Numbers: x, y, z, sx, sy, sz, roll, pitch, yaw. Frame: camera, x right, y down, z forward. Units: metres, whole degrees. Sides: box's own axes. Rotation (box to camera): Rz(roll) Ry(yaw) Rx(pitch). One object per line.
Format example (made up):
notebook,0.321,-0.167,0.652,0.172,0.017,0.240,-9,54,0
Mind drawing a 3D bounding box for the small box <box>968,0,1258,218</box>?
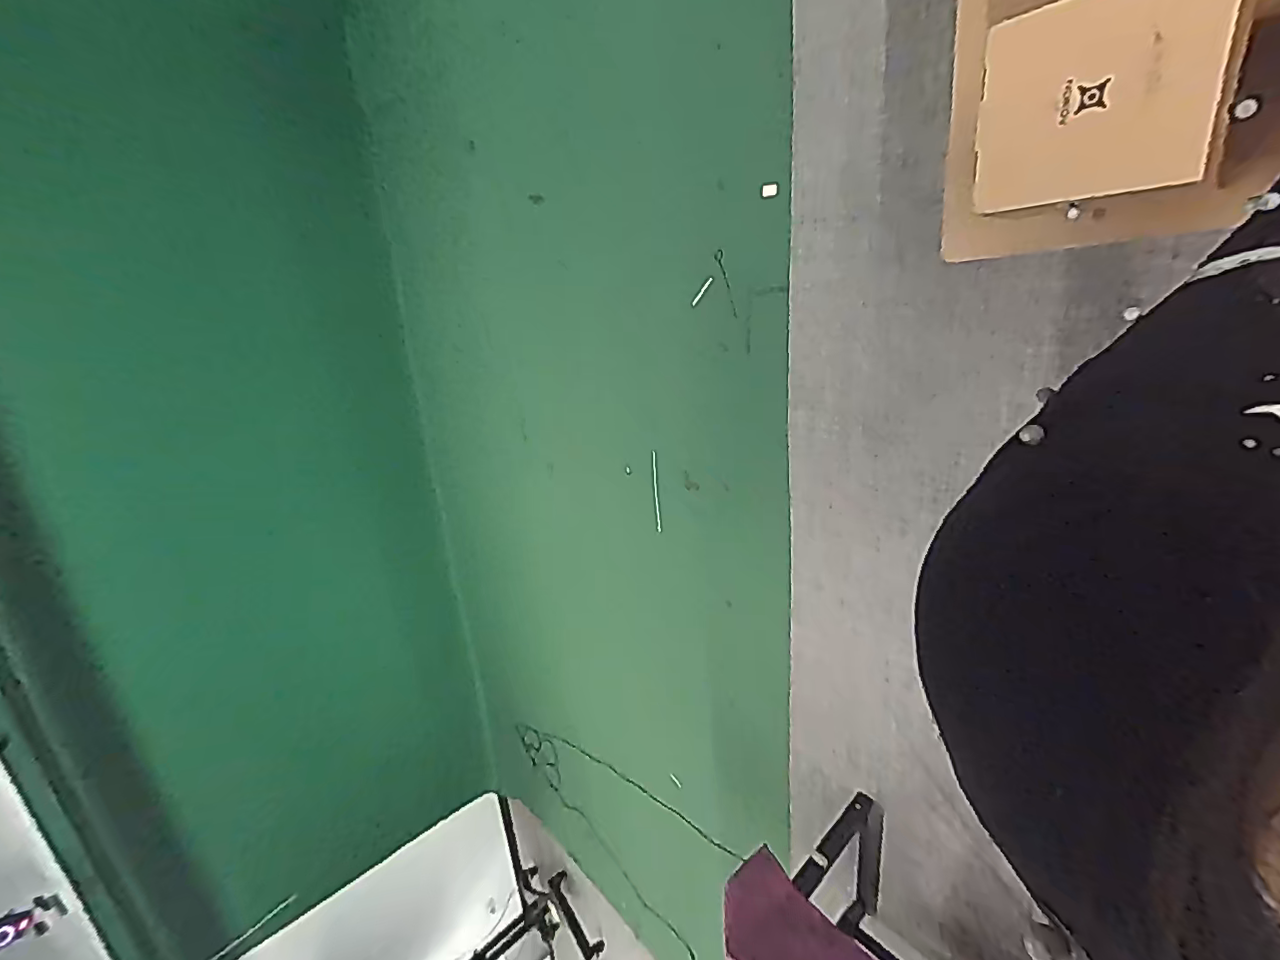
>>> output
small box,0.461,-0.363,0.537,0.179,0.176,0.168,16,118,45
